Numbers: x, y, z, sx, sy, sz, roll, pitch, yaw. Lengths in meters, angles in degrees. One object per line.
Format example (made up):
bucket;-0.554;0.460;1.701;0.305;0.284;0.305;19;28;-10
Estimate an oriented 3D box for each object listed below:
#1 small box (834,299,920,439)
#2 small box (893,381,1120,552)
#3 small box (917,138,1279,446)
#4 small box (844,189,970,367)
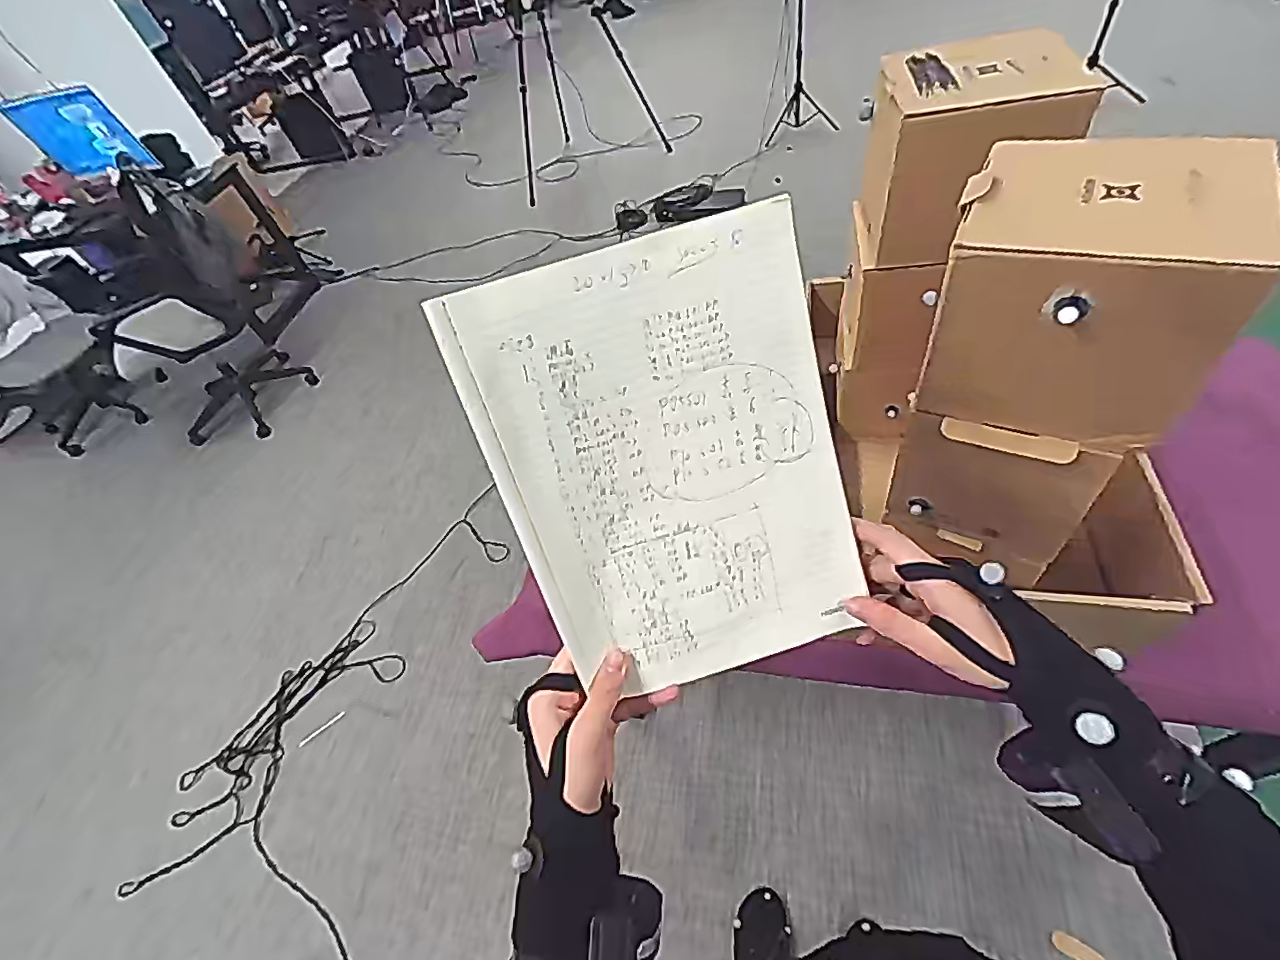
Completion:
small box;0.409;-0.178;0.877;0.168;0.176;0.179;3;55;16
small box;0.379;-0.053;0.567;0.168;0.176;0.179;20;58;29
small box;0.346;-0.151;0.441;0.179;0.176;0.168;18;58;27
small box;0.381;-0.271;0.747;0.179;0.176;0.168;1;54;14
